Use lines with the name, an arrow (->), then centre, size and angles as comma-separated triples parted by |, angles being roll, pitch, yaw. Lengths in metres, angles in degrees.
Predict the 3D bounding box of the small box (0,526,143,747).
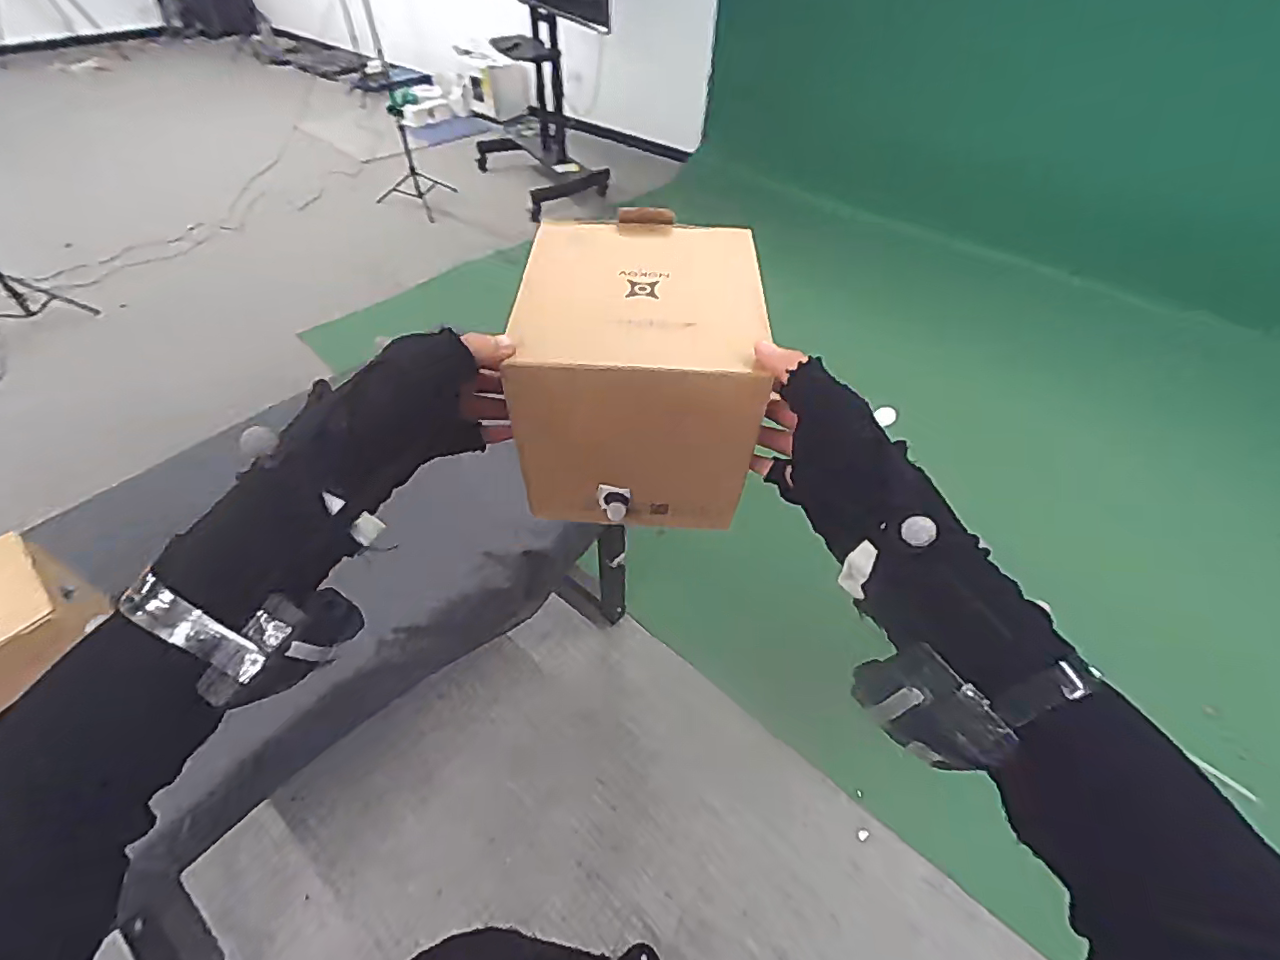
small box -> -0.770, 0.197, 0.661 | 0.179, 0.176, 0.168 | 33, 55, 26

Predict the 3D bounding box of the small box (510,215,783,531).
small box -> 0.005, -0.082, 0.431 | 0.168, 0.176, 0.179 | 4, 52, 1
